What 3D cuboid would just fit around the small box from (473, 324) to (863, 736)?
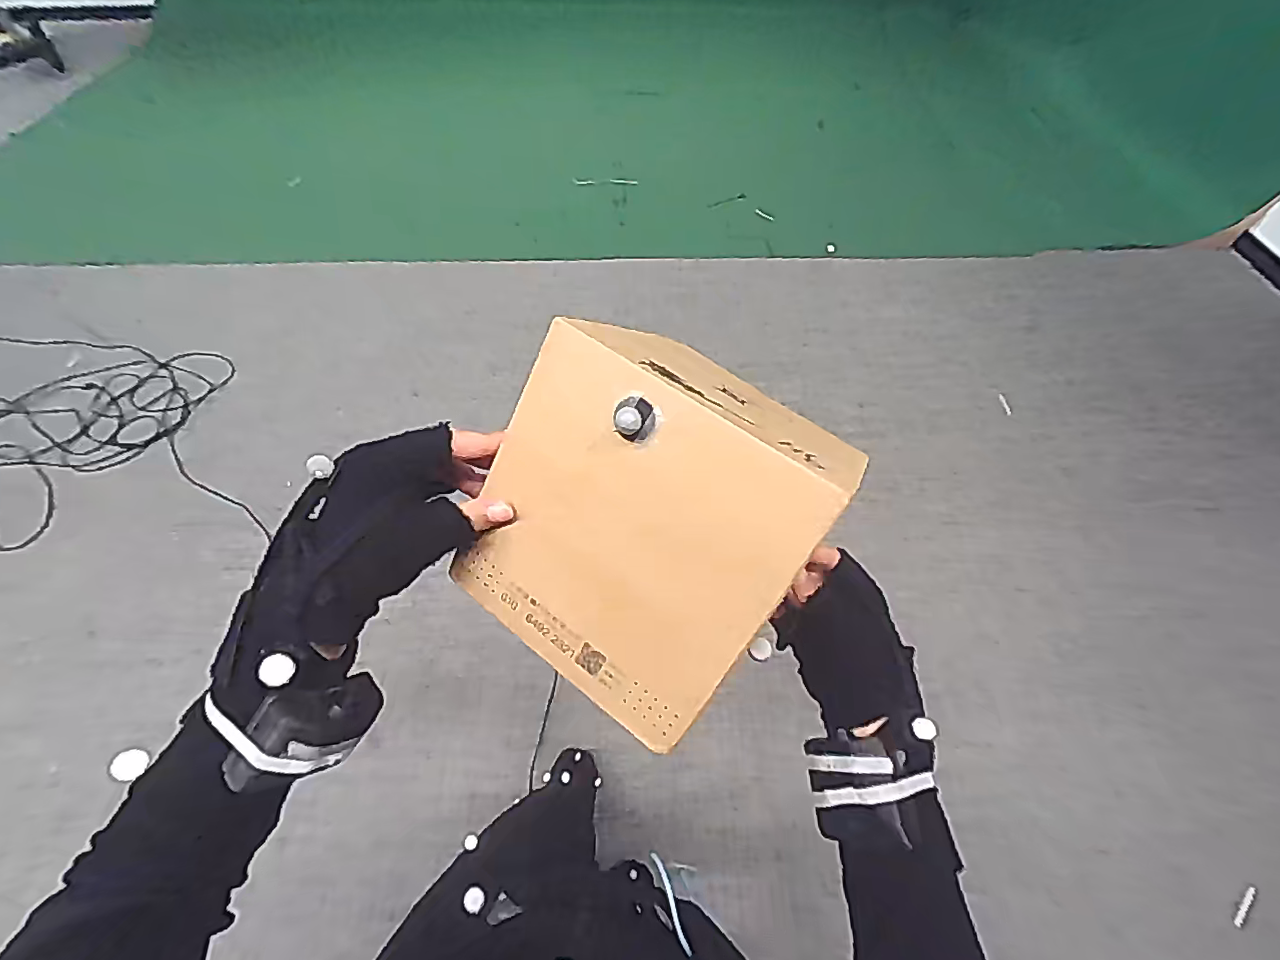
[{"bbox_3d":[0.023,0.021,0.359,0.168,0.176,0.179,35,20,17],"label":"small box"}]
